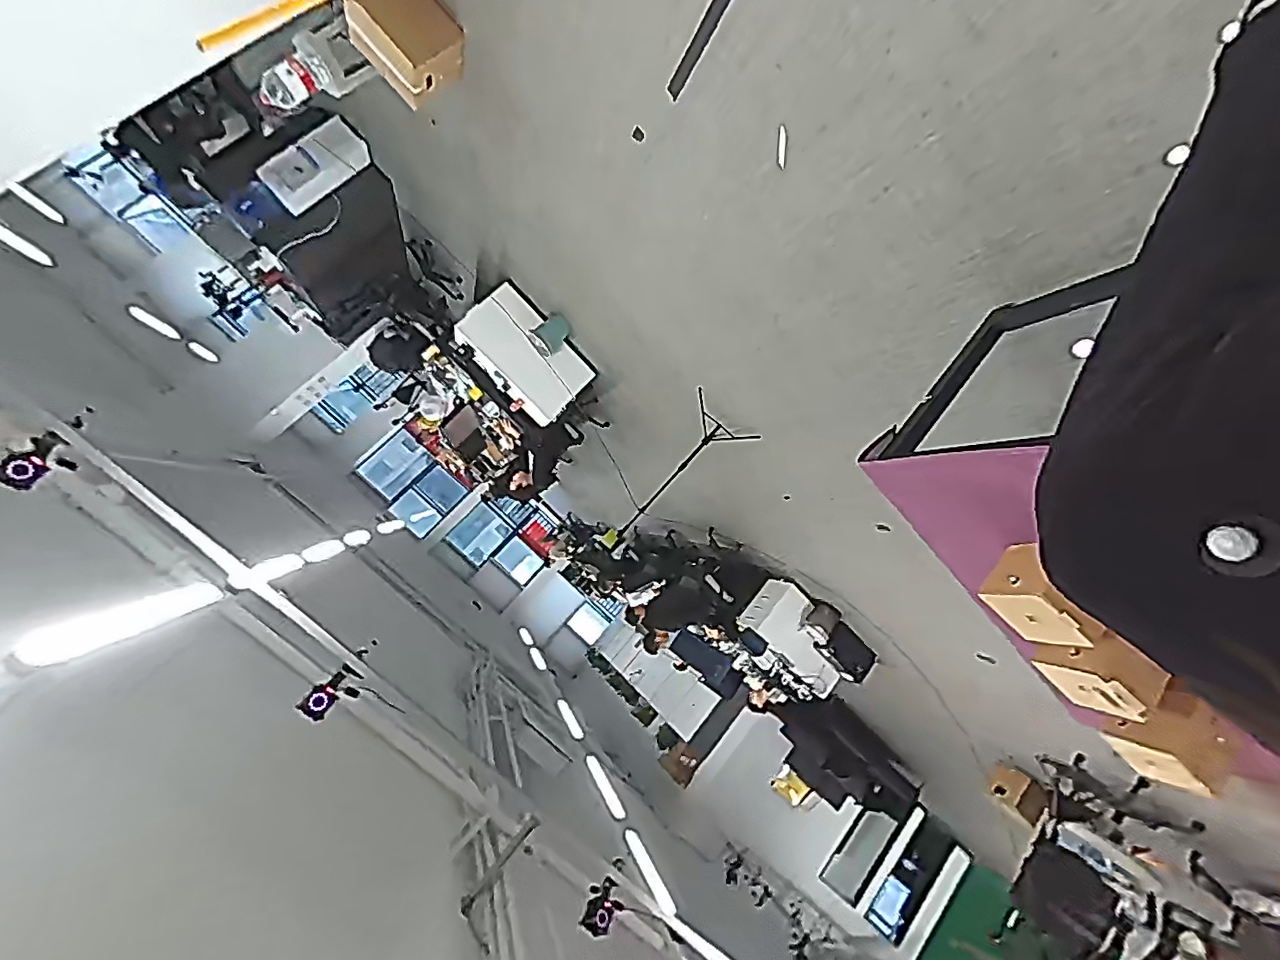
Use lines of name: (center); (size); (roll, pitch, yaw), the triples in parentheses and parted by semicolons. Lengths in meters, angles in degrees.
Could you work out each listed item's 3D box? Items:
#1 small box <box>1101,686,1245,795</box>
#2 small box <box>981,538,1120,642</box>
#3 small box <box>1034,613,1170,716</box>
small box: (1.326, 0.629, 1.349); (0.168, 0.176, 0.179); (43, 165, -4)
small box: (0.950, 0.248, 1.248); (0.168, 0.176, 0.179); (43, 166, 0)
small box: (1.126, 0.432, 1.313); (0.168, 0.176, 0.179); (43, 166, -2)
